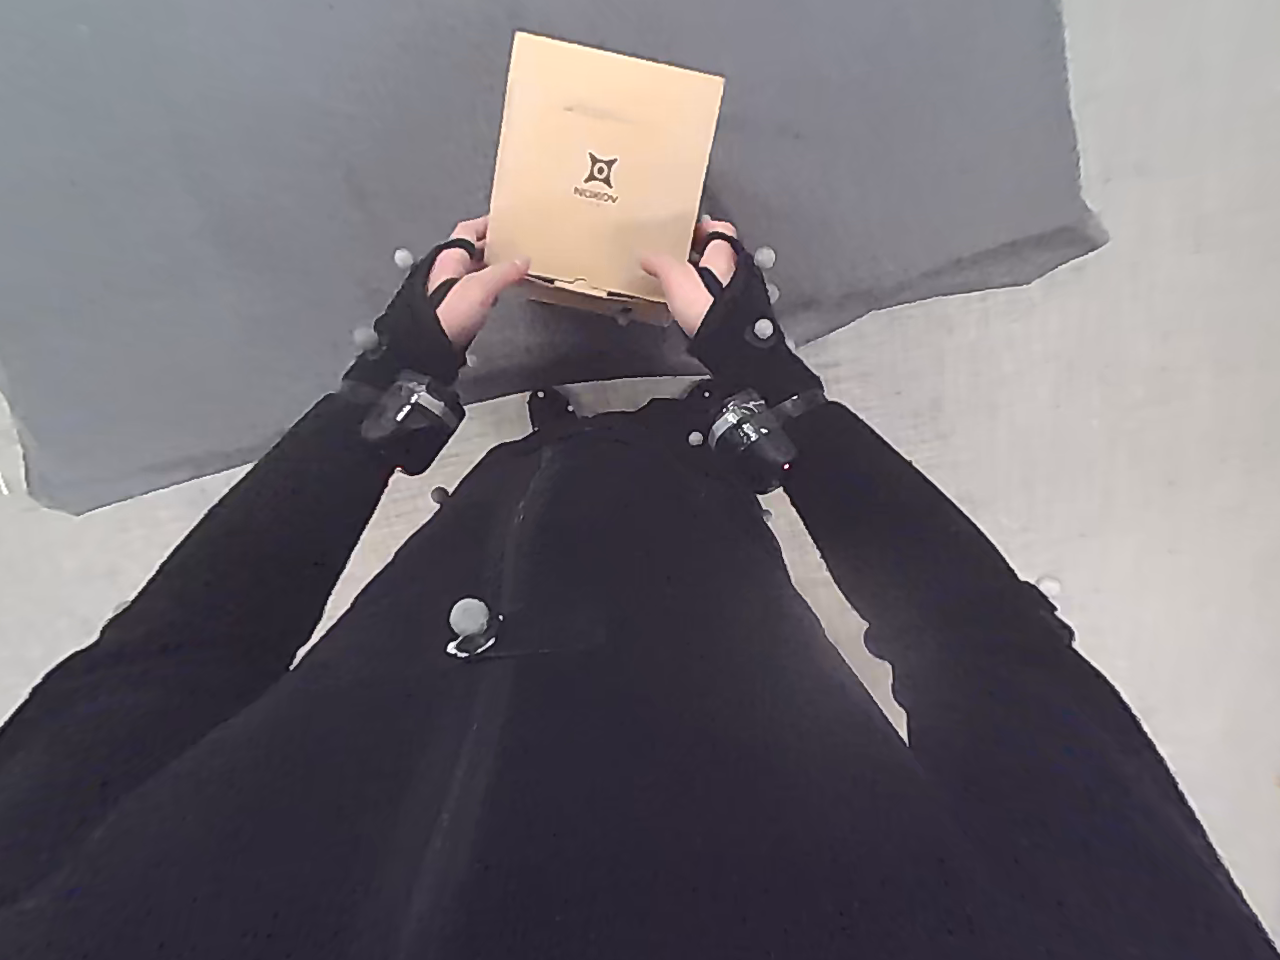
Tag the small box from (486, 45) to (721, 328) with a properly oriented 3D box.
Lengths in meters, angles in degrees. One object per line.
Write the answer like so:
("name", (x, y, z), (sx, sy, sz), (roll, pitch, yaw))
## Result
("small box", (-0.032, -0.249, 0.509), (0.168, 0.176, 0.179), (10, 99, -3))
